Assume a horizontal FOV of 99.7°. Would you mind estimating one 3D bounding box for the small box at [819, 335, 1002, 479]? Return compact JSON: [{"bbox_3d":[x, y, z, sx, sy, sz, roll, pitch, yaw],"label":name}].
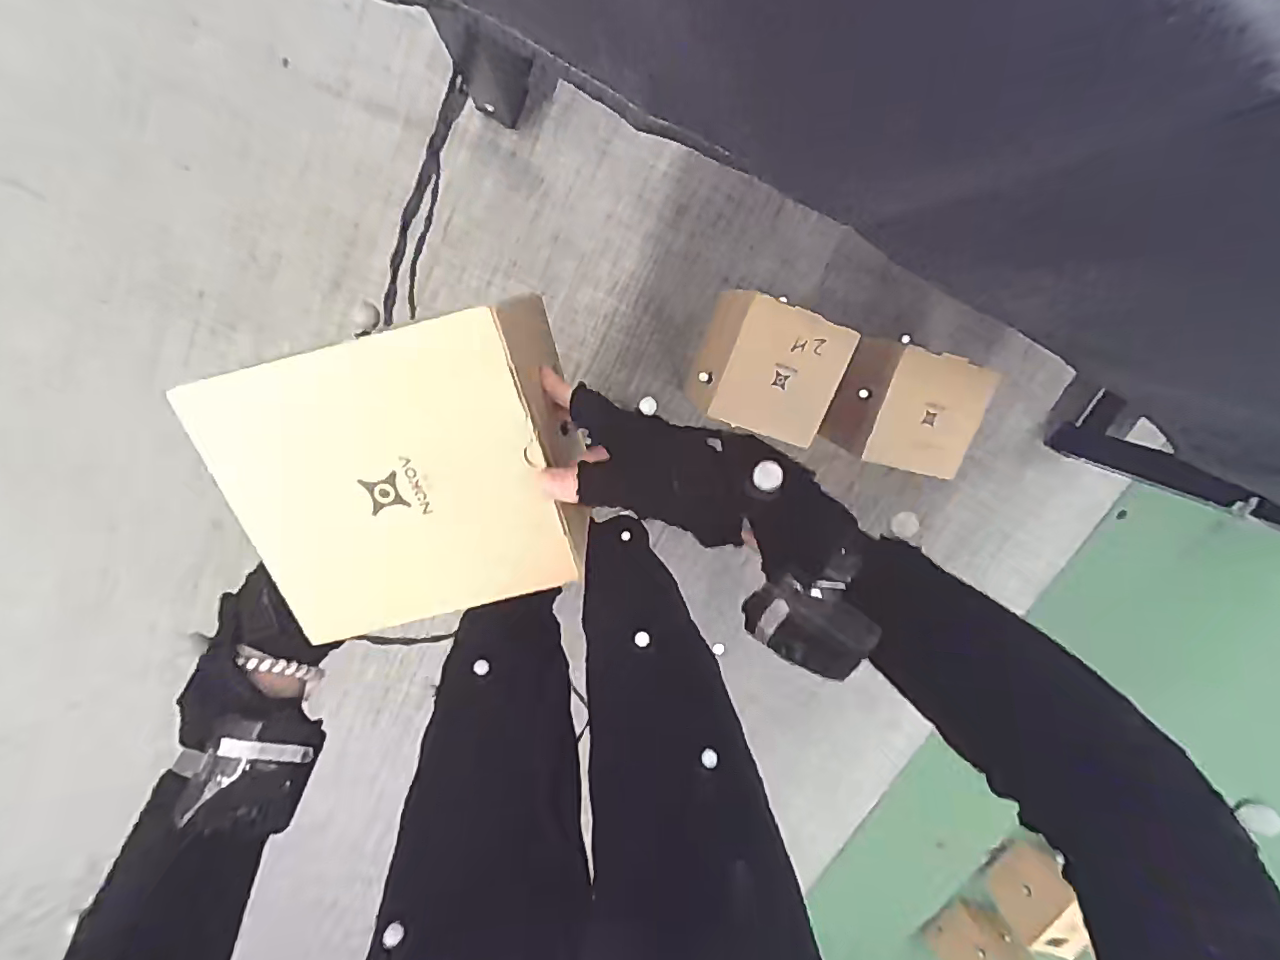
[{"bbox_3d":[0.411,-0.122,0.856,0.168,0.176,0.179,11,108,-13],"label":"small box"}]
